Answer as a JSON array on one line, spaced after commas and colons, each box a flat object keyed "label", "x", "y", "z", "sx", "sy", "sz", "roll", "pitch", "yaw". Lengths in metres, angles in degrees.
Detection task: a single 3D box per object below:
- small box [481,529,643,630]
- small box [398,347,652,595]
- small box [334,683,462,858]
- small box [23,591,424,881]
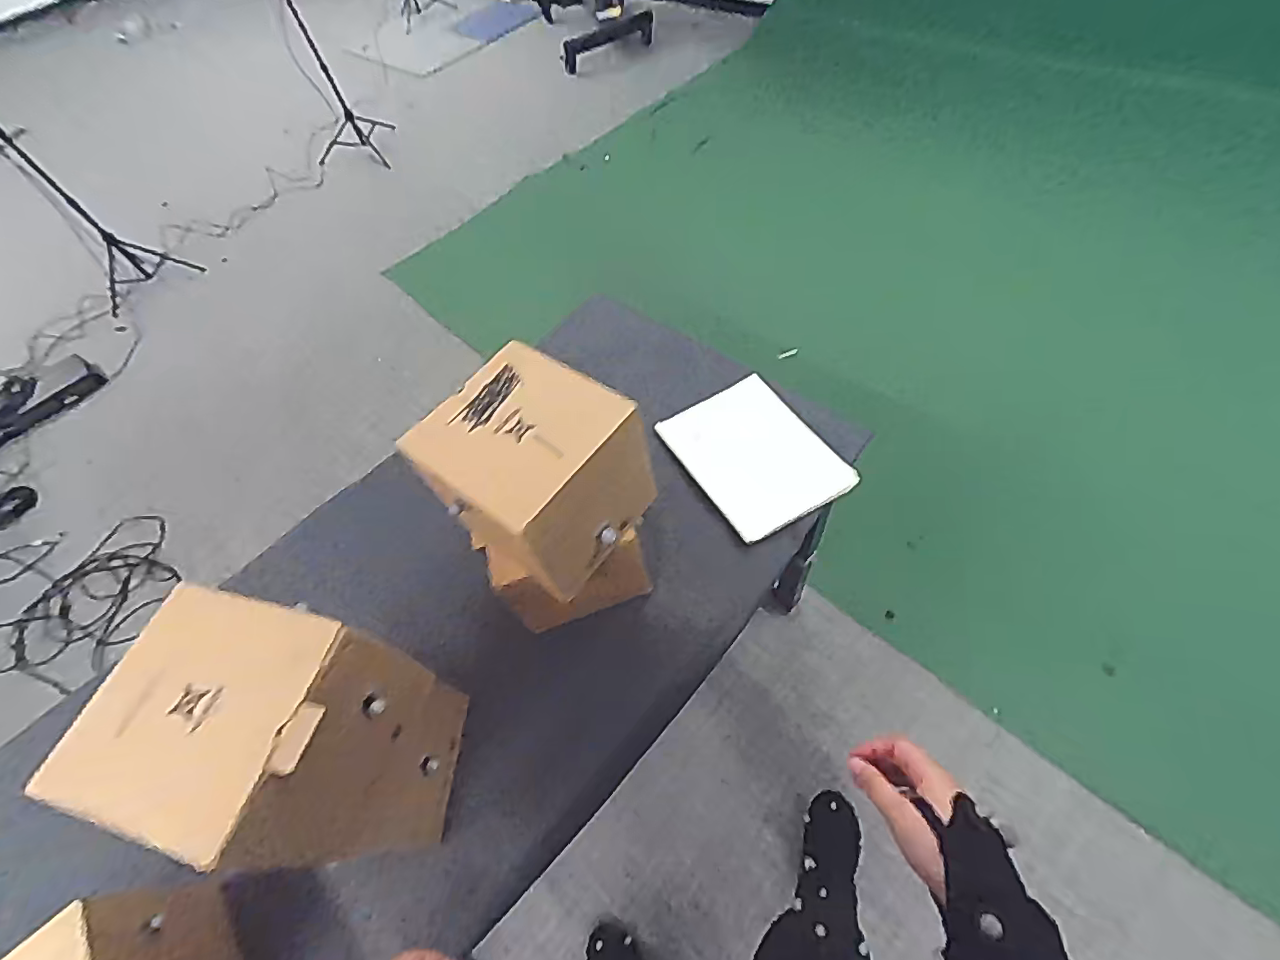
[{"label": "small box", "x": -0.101, "y": 0.078, "z": 0.720, "sx": 0.179, "sy": 0.176, "sz": 0.168, "roll": -19, "pitch": 57, "yaw": -4}, {"label": "small box", "x": -0.108, "y": -0.004, "z": 0.577, "sx": 0.179, "sy": 0.176, "sz": 0.168, "roll": 30, "pitch": 67, "yaw": 25}, {"label": "small box", "x": -0.321, "y": 0.312, "z": 0.600, "sx": 0.179, "sy": 0.176, "sz": 0.168, "roll": -2, "pitch": 57, "yaw": 7}, {"label": "small box", "x": -0.324, "y": 0.217, "z": 0.467, "sx": 0.179, "sy": 0.176, "sz": 0.168, "roll": 8, "pitch": 58, "yaw": 14}]
